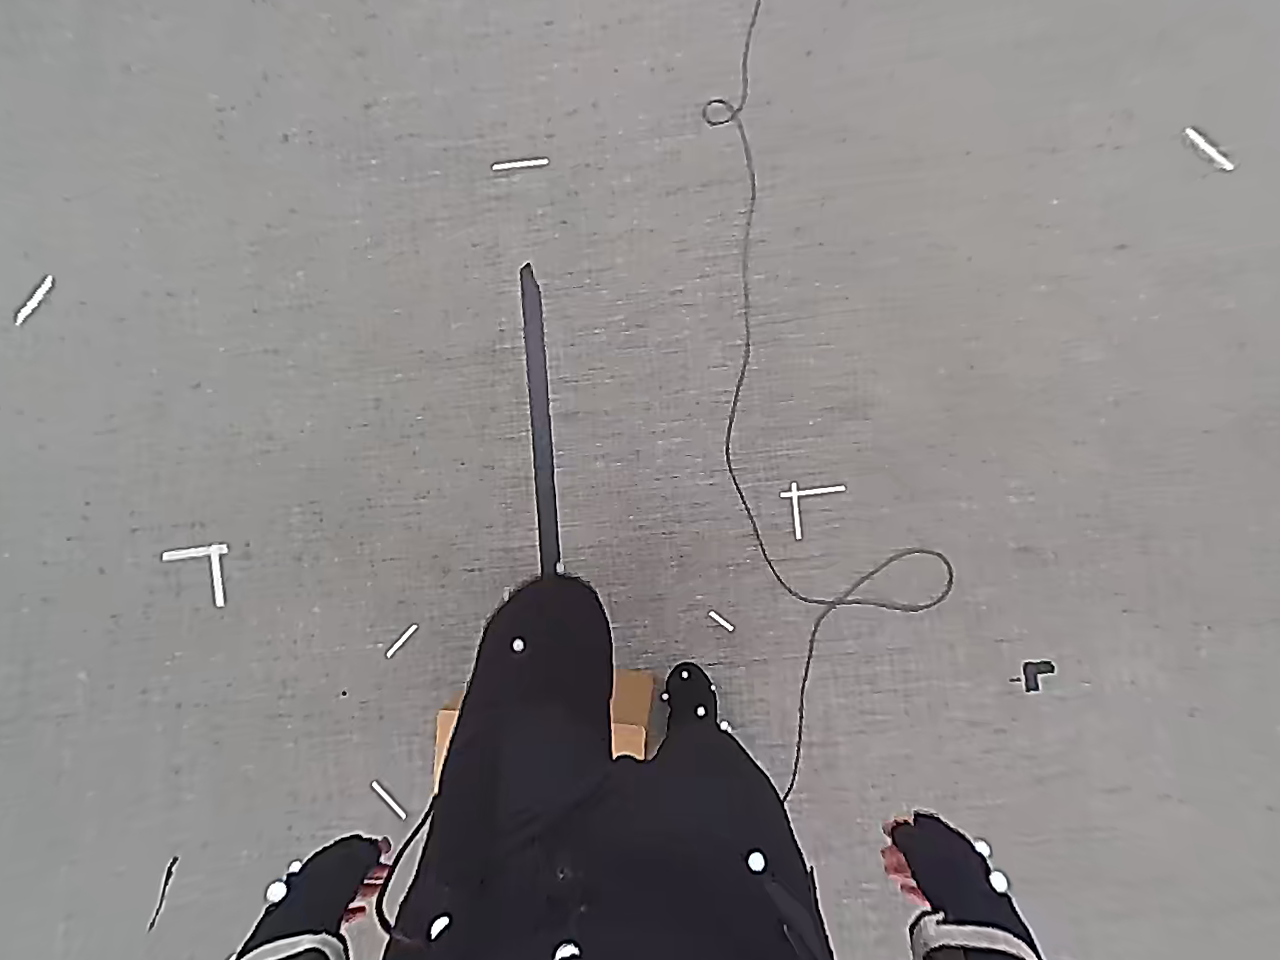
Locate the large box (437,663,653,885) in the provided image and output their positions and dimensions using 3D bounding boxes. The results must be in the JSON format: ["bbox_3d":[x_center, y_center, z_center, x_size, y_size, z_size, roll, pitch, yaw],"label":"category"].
[{"bbox_3d":[-0.182,0.605,1.177,0.408,0.320,0.320,3,90,3],"label":"large box"}]
